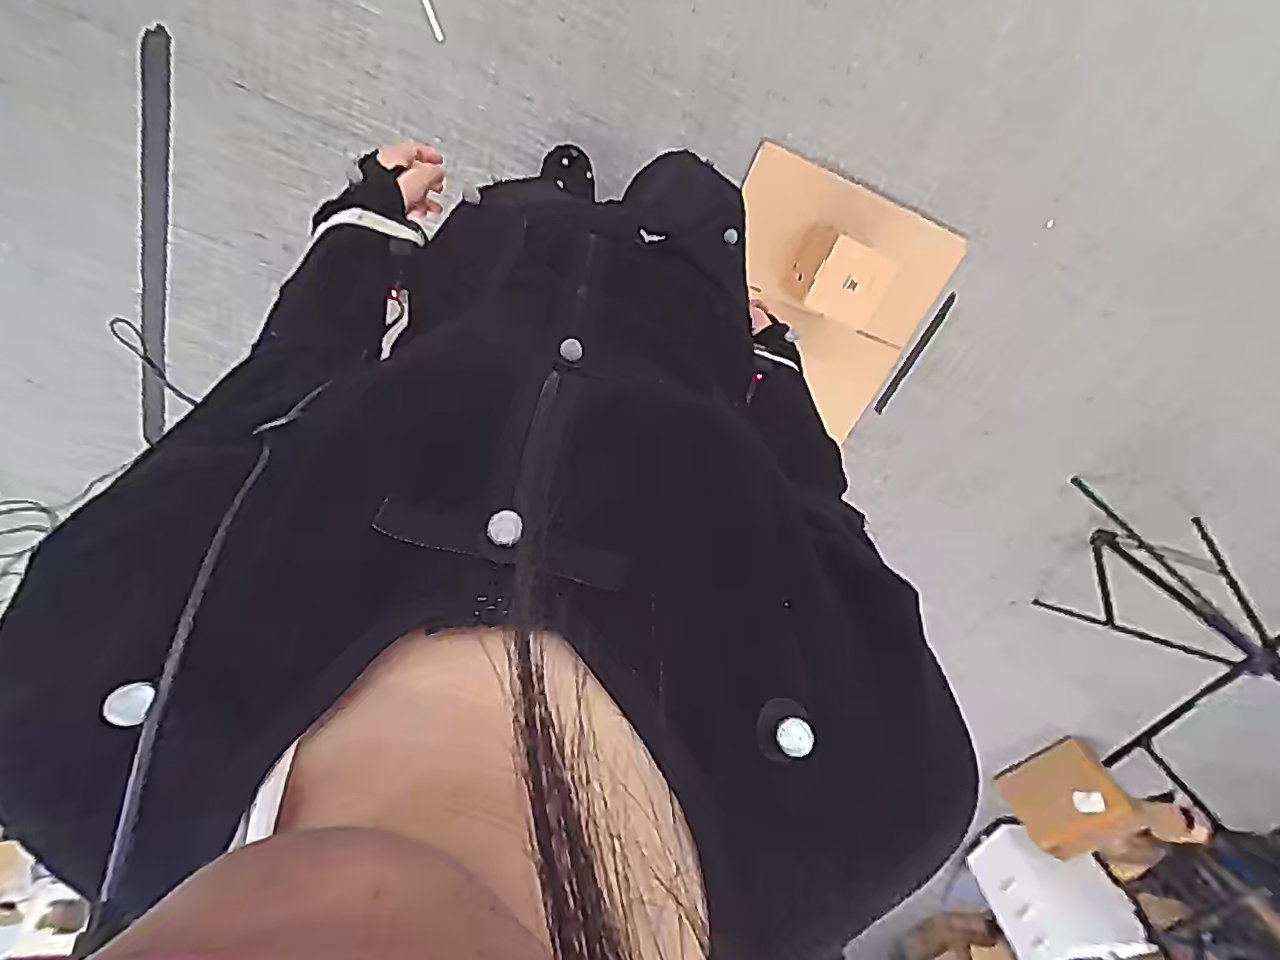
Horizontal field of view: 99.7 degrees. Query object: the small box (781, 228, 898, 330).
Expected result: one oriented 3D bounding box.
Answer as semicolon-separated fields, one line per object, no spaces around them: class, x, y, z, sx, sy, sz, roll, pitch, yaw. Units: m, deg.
small box;0.466;-0.489;1.299;0.179;0.176;0.168;17;120;-17
